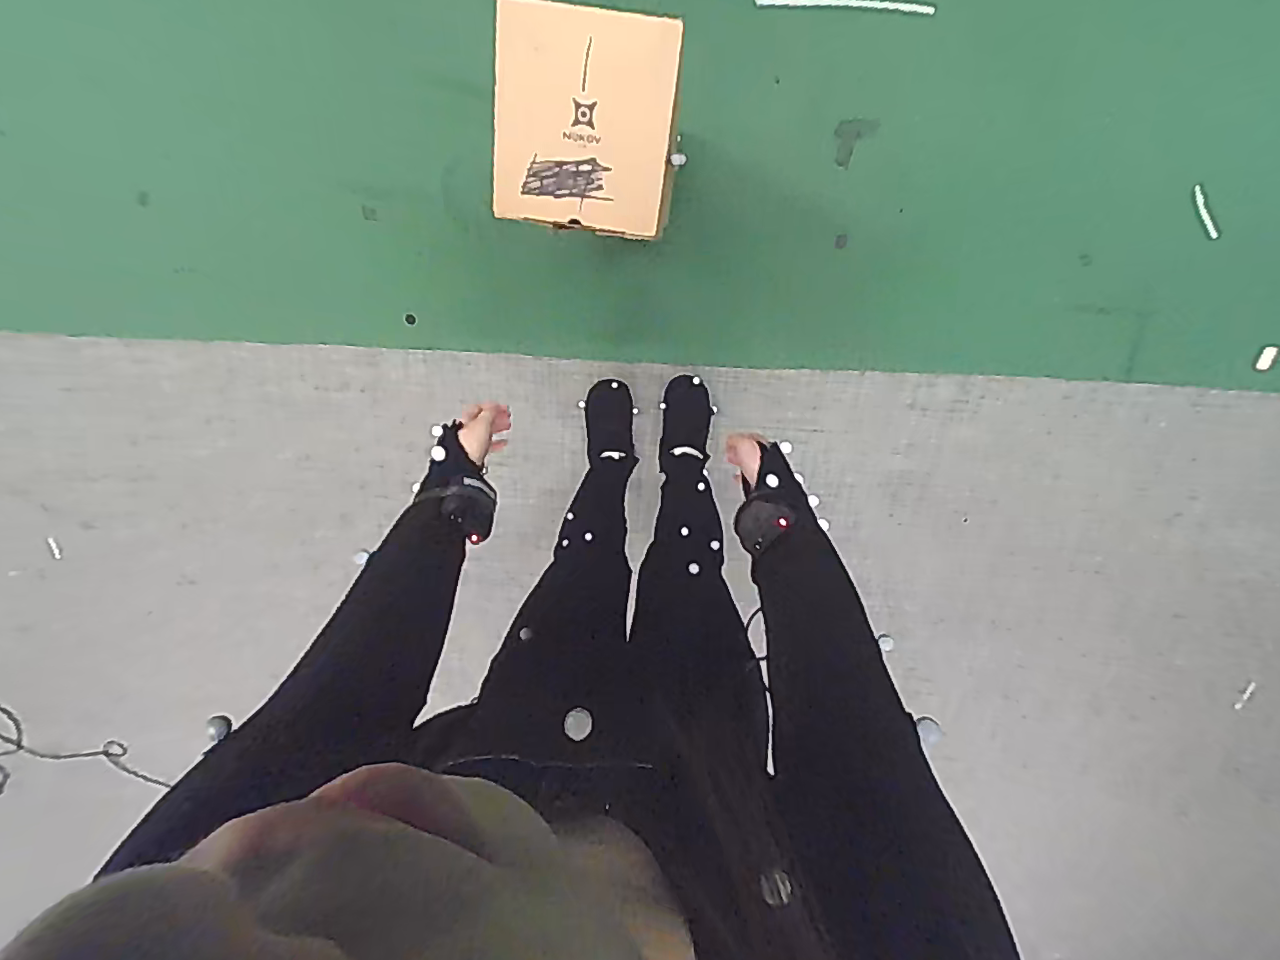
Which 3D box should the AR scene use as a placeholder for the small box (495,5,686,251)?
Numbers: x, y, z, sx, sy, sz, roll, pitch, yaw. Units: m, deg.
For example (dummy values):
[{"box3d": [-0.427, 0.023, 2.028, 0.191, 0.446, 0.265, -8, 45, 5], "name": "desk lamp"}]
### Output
[{"box3d": [-0.046, -0.351, 0.572, 0.168, 0.176, 0.179, 9, 114, 0], "name": "small box"}]
